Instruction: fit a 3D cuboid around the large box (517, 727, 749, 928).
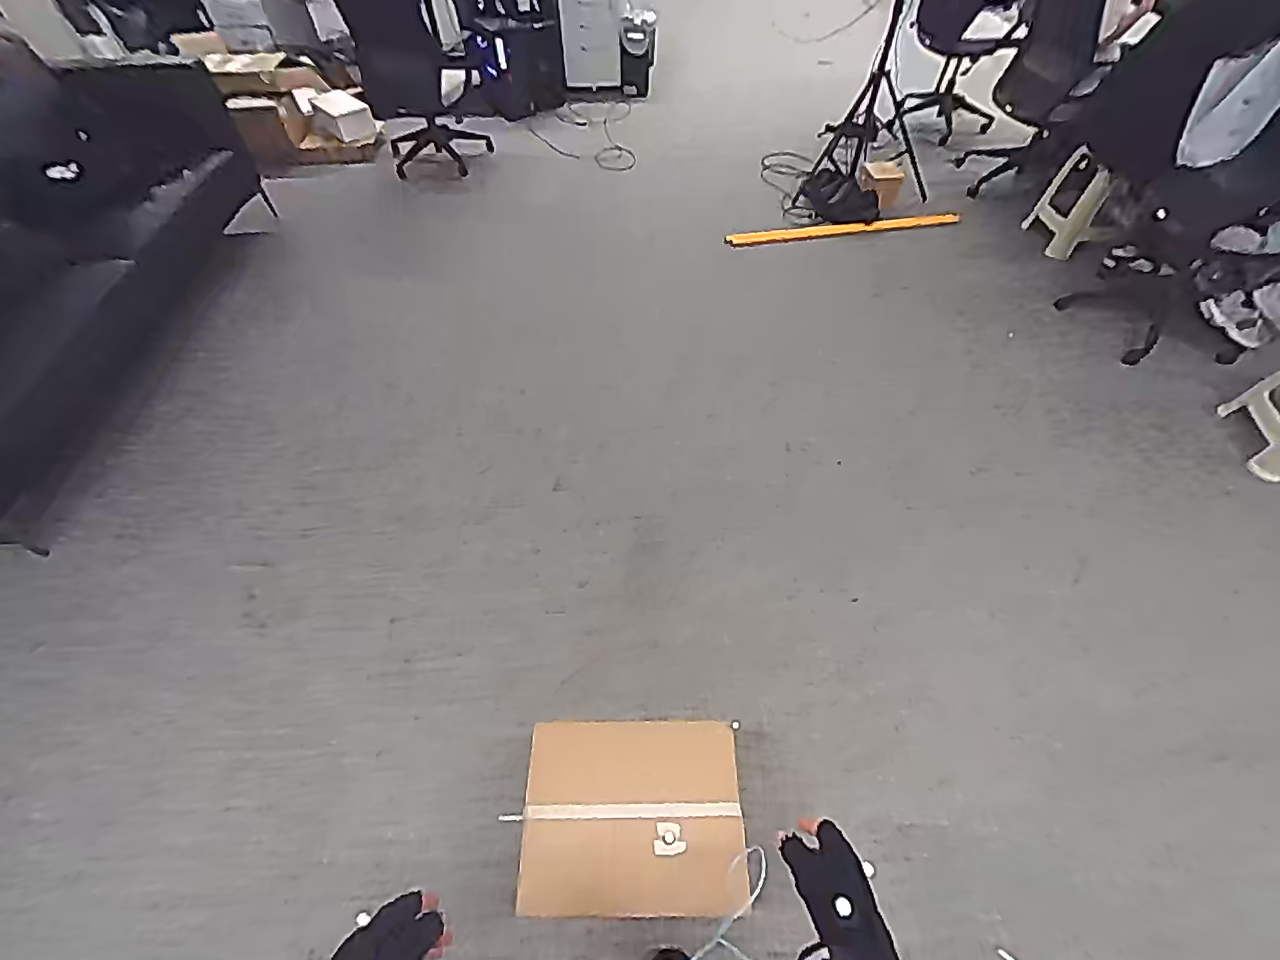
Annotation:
[{"bbox_3d":[-0.014,0.718,1.117,0.408,0.320,0.320,-1,52,0],"label":"large box"}]
